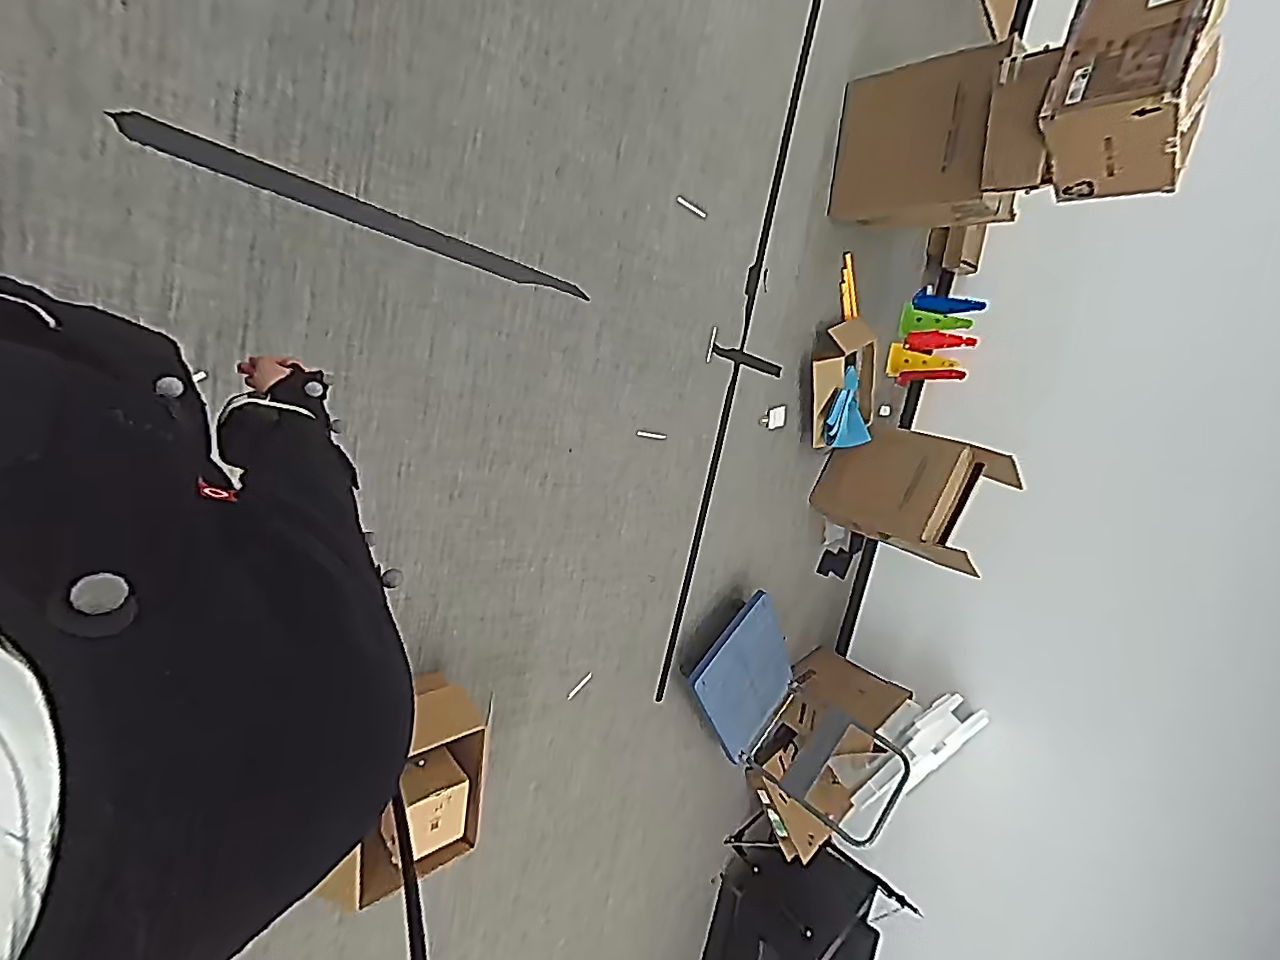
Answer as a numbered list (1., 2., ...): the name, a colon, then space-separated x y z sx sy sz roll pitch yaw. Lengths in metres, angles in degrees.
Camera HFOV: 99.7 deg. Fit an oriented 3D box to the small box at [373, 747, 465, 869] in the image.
1. small box: -0.575 0.837 1.398 0.168 0.176 0.179 -1 105 -45
